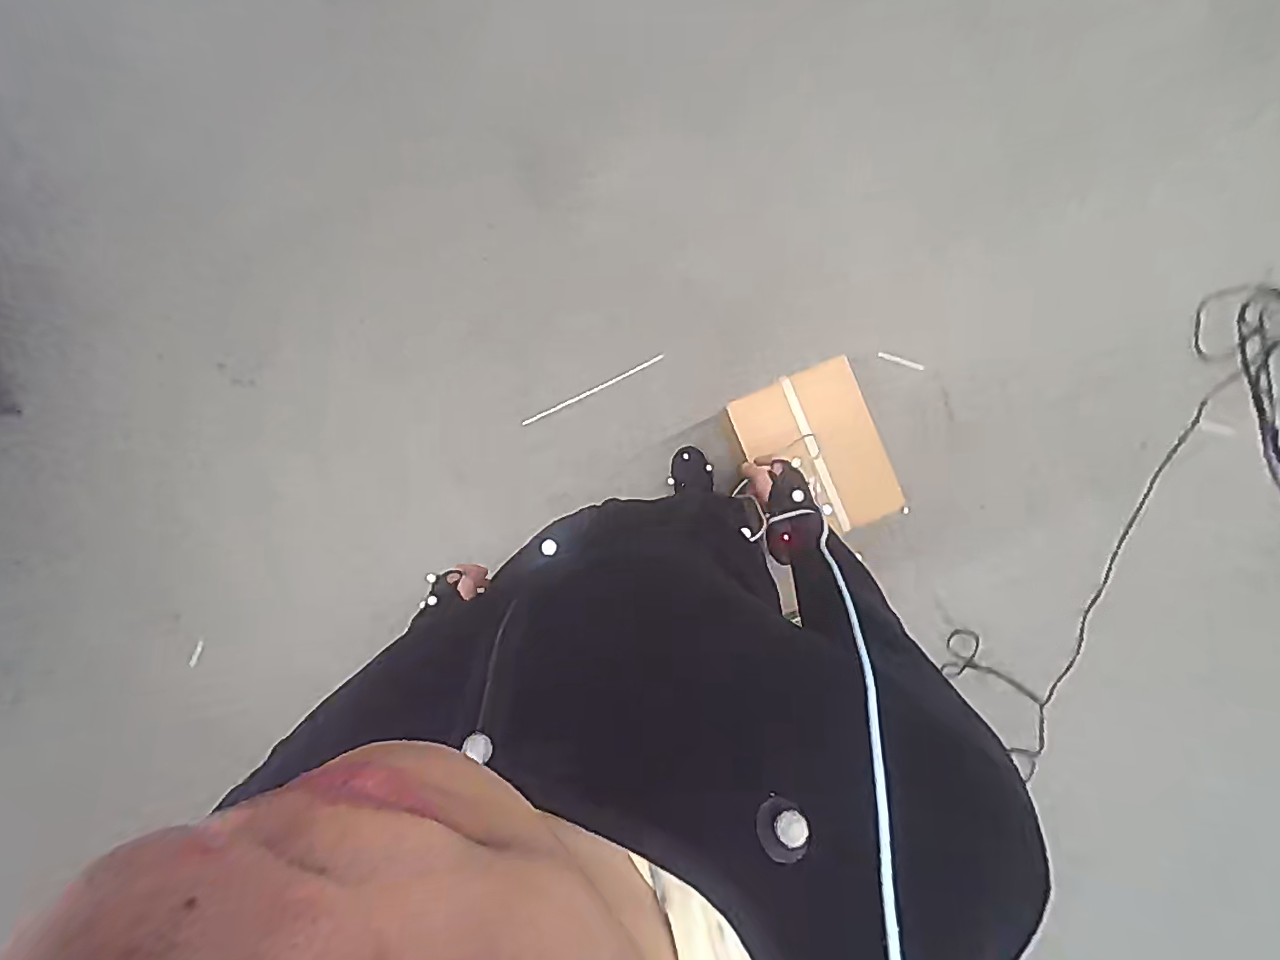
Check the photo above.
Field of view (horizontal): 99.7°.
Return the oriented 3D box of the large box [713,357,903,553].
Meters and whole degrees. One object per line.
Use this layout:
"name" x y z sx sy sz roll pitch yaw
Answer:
"large box" 0.427 -0.066 1.466 0.320 0.320 0.408 -23 91 4
